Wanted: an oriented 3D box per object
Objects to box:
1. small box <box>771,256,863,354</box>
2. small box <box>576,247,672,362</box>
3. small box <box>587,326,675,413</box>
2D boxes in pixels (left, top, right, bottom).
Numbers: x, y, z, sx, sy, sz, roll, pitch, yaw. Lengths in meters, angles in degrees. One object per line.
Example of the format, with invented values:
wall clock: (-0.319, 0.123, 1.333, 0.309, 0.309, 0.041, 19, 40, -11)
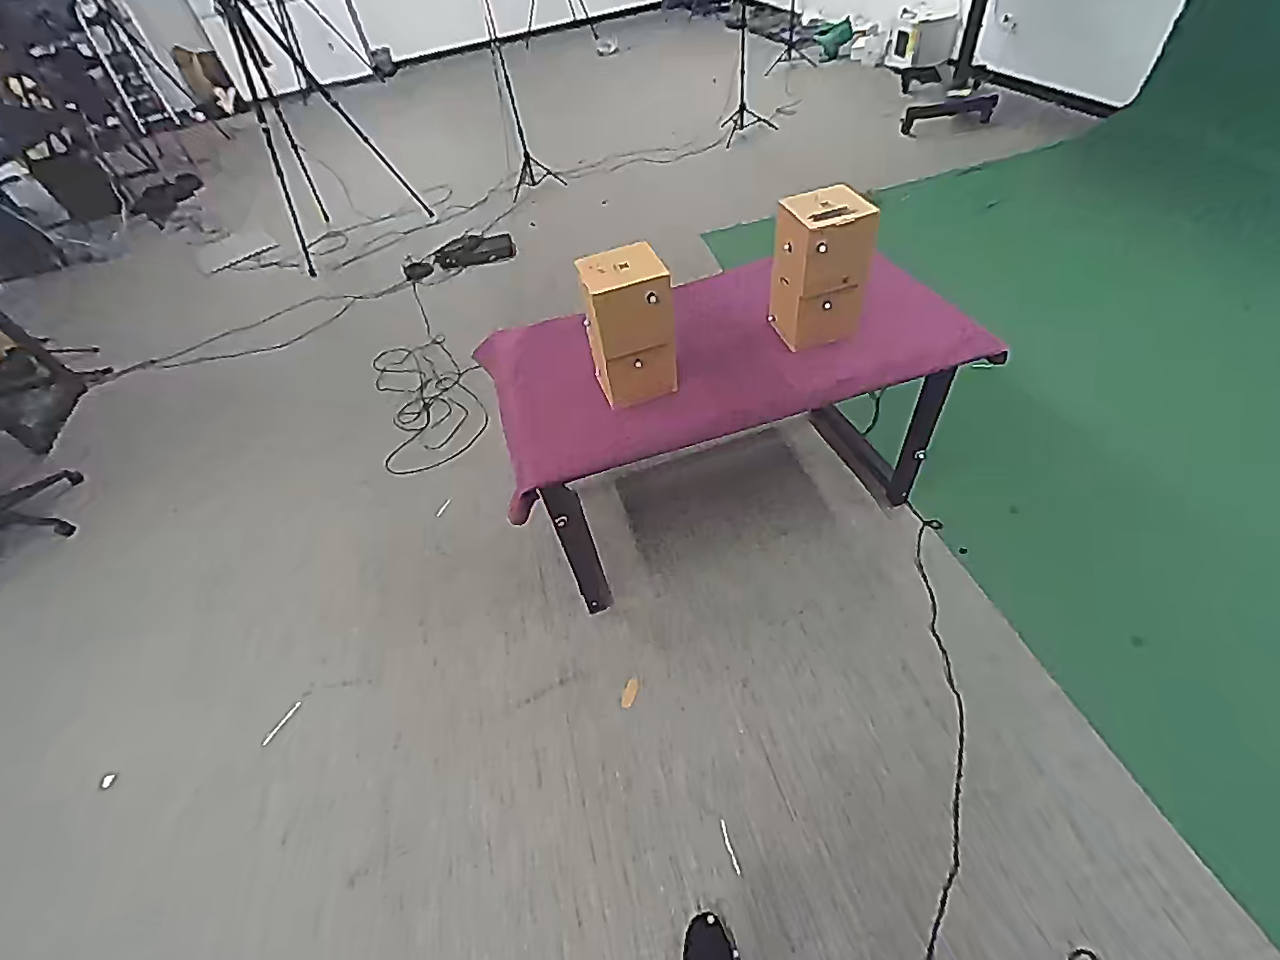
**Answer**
small box: (0.453, -0.454, 1.415, 0.179, 0.176, 0.168, -15, 49, -4)
small box: (-0.031, -0.396, 1.226, 0.179, 0.176, 0.168, -18, 49, -6)
small box: (-0.017, -0.298, 1.360, 0.179, 0.176, 0.168, -19, 49, -7)
